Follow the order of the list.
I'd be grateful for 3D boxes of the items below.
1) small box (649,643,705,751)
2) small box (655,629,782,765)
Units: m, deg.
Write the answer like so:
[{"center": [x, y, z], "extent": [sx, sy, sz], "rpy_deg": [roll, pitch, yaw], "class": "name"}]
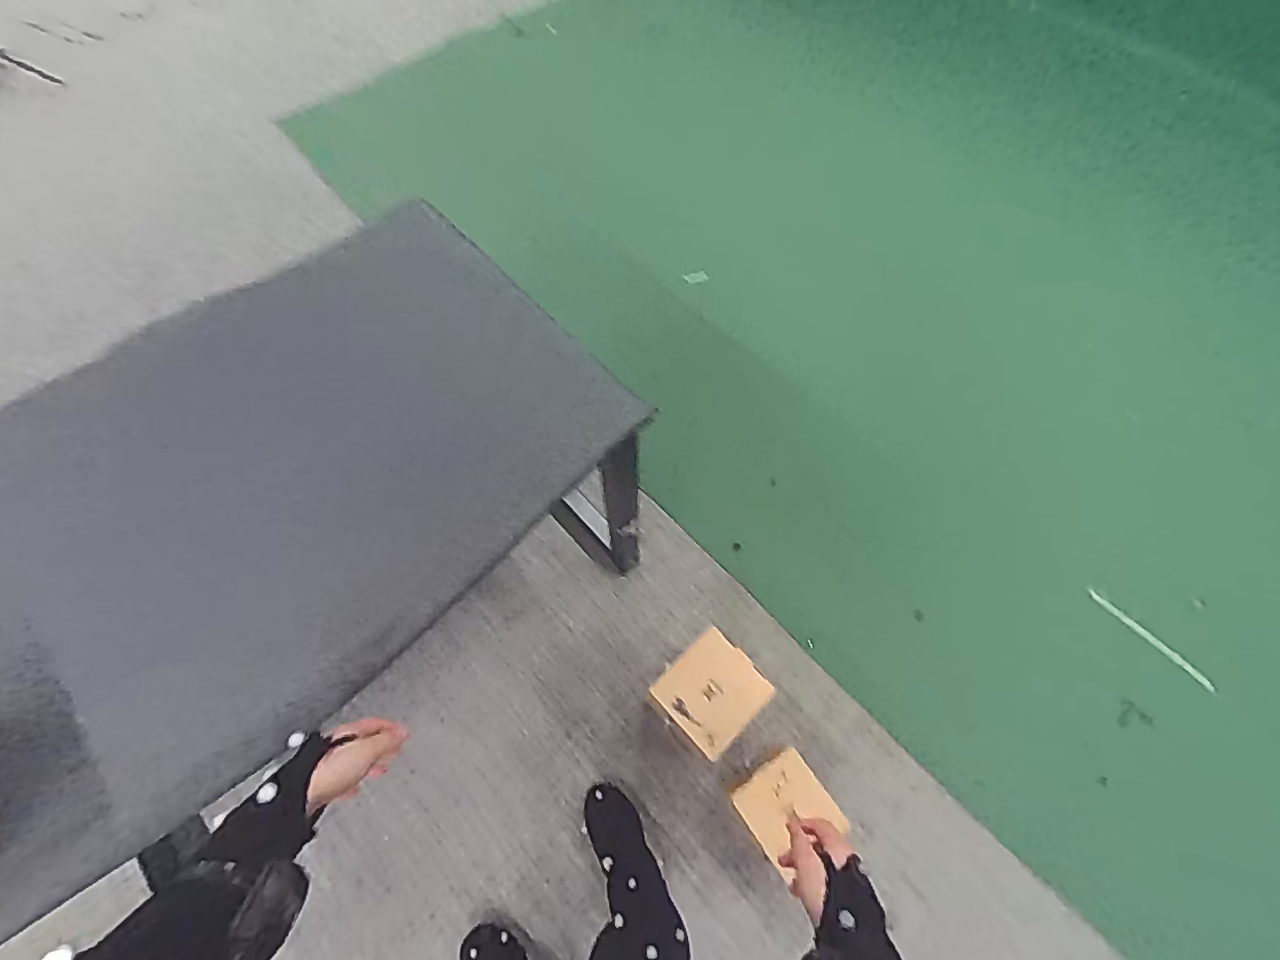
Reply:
[{"center": [0.137, 0.492, 1.204], "extent": [0.168, 0.176, 0.179], "rpy_deg": [-41, 70, -17], "class": "small box"}, {"center": [0.142, 0.422, 1.055], "extent": [0.179, 0.176, 0.168], "rpy_deg": [-39, 71, -17], "class": "small box"}]
